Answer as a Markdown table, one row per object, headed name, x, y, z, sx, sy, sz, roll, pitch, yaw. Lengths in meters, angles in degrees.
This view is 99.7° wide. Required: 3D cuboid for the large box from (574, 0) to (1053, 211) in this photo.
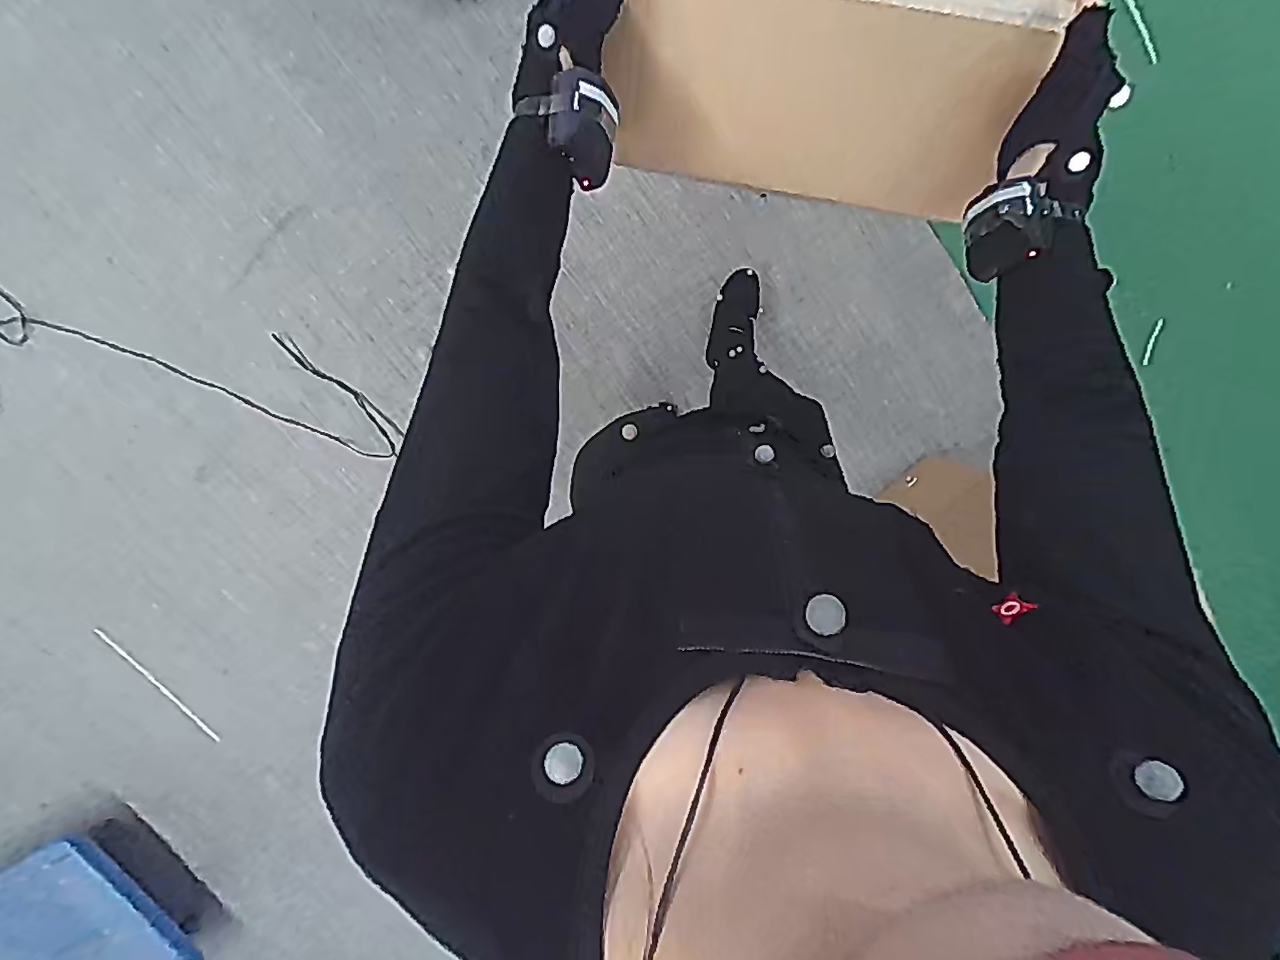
| name | x | y | z | sx | sy | sz | roll | pitch | yaw |
| --- | --- | --- | --- | --- | --- | --- | --- | --- | --- |
| large box | 0.168 | -0.494 | 0.589 | 0.408 | 0.320 | 0.320 | 10 | 118 | 3 |
